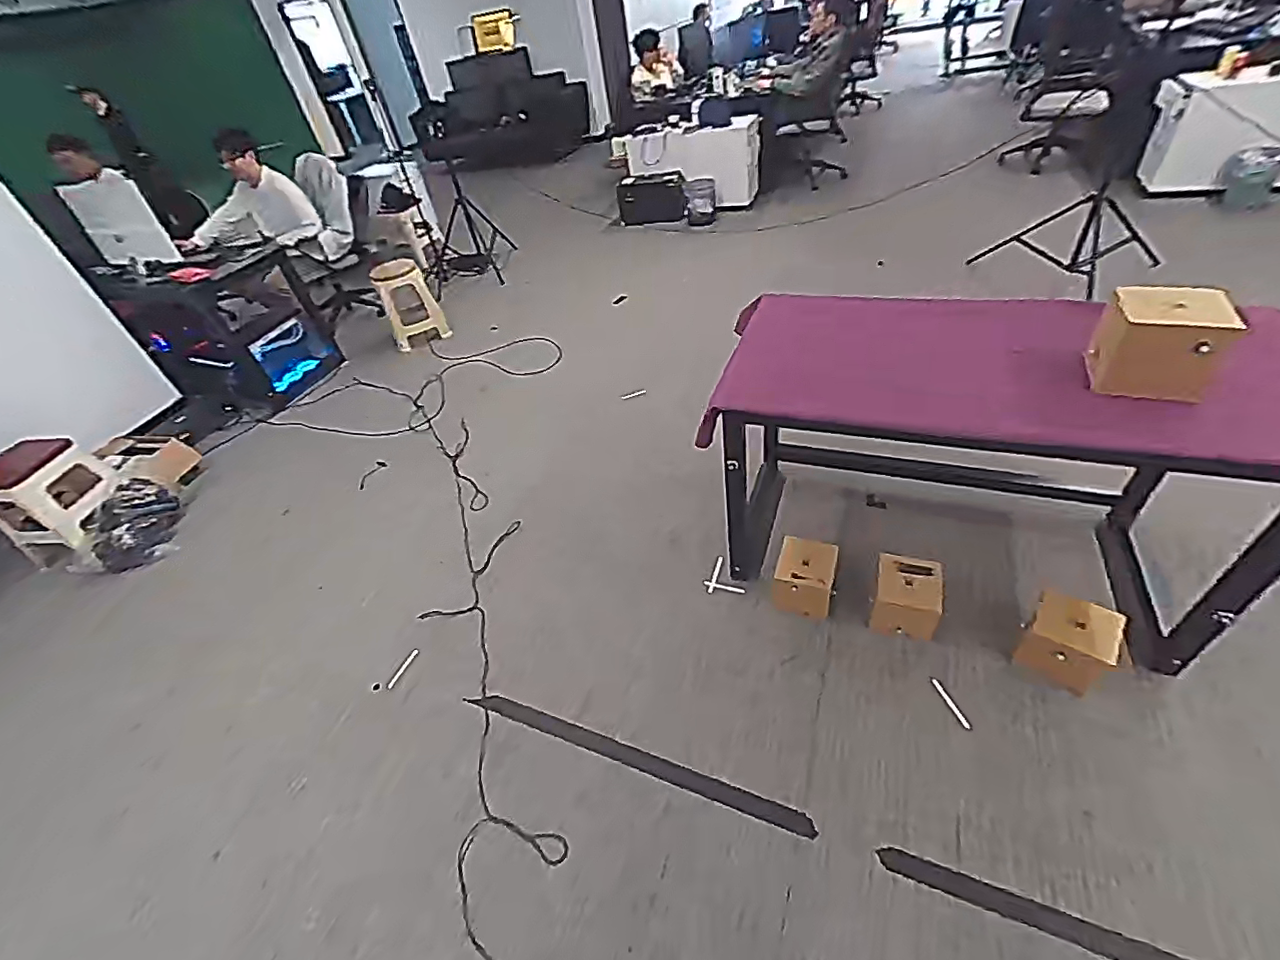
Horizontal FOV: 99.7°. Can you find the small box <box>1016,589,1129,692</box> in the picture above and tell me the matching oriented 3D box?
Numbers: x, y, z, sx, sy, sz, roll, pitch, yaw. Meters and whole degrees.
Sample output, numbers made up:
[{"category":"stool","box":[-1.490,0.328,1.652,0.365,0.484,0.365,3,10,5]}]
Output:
[{"category":"small box","box":[1.130,0.426,1.423,0.179,0.176,0.168,23,53,34]}]

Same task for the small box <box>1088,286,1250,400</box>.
[{"category":"small box","box":[1.070,-0.281,1.113,0.179,0.176,0.168,10,46,23]}]

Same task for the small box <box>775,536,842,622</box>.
[{"category":"small box","box":[0.522,0.309,1.687,0.168,0.176,0.179,11,45,23]}]
